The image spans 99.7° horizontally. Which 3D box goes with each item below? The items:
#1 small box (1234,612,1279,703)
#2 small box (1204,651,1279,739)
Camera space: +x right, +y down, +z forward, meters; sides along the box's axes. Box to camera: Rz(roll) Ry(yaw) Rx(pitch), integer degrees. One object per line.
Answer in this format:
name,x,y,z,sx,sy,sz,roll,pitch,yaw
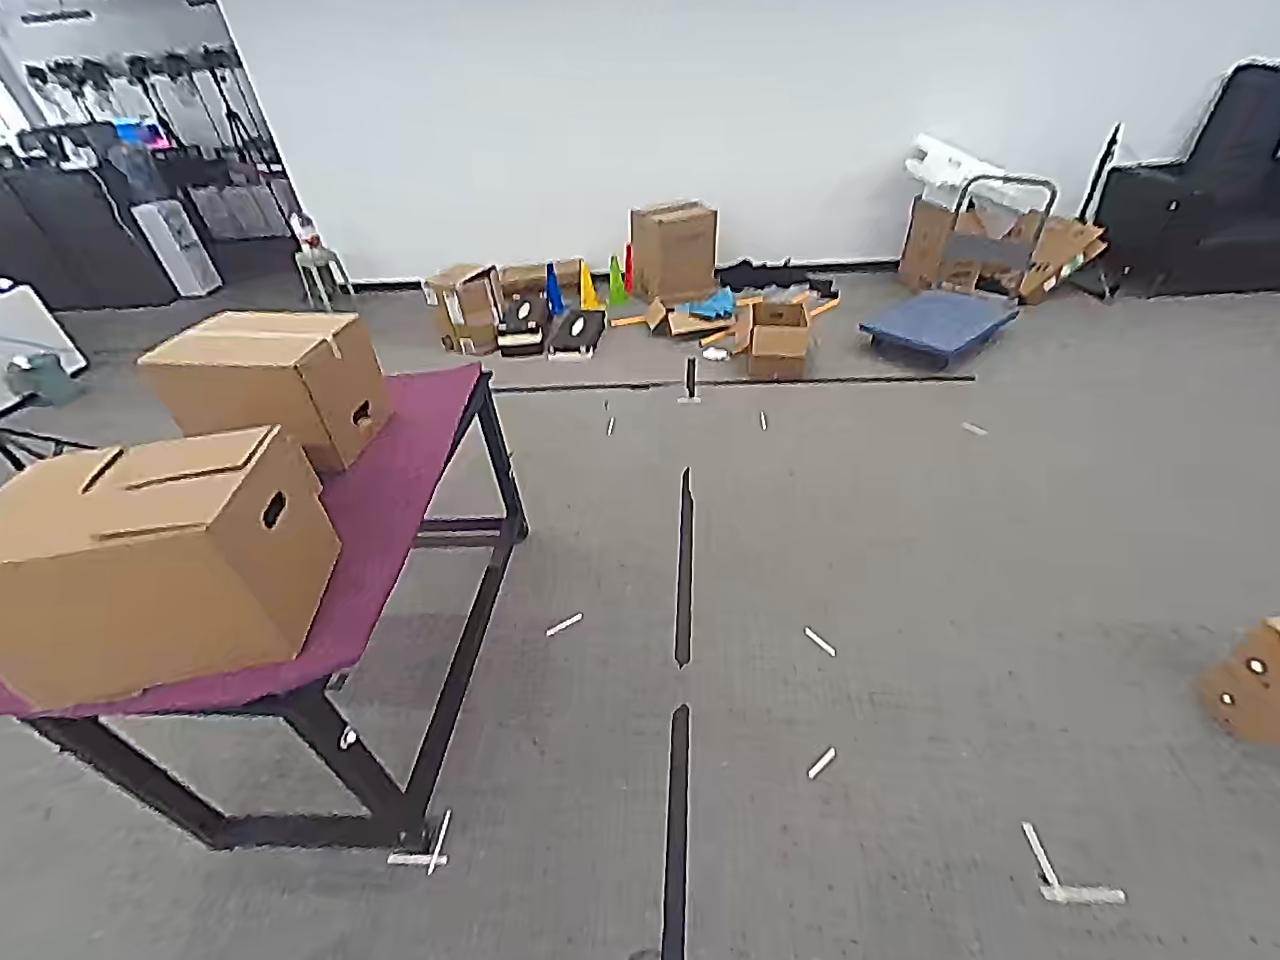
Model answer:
small box,1.671,0.445,1.343,0.179,0.176,0.168,-3,38,4
small box,1.681,0.574,1.443,0.179,0.176,0.168,-3,38,2
